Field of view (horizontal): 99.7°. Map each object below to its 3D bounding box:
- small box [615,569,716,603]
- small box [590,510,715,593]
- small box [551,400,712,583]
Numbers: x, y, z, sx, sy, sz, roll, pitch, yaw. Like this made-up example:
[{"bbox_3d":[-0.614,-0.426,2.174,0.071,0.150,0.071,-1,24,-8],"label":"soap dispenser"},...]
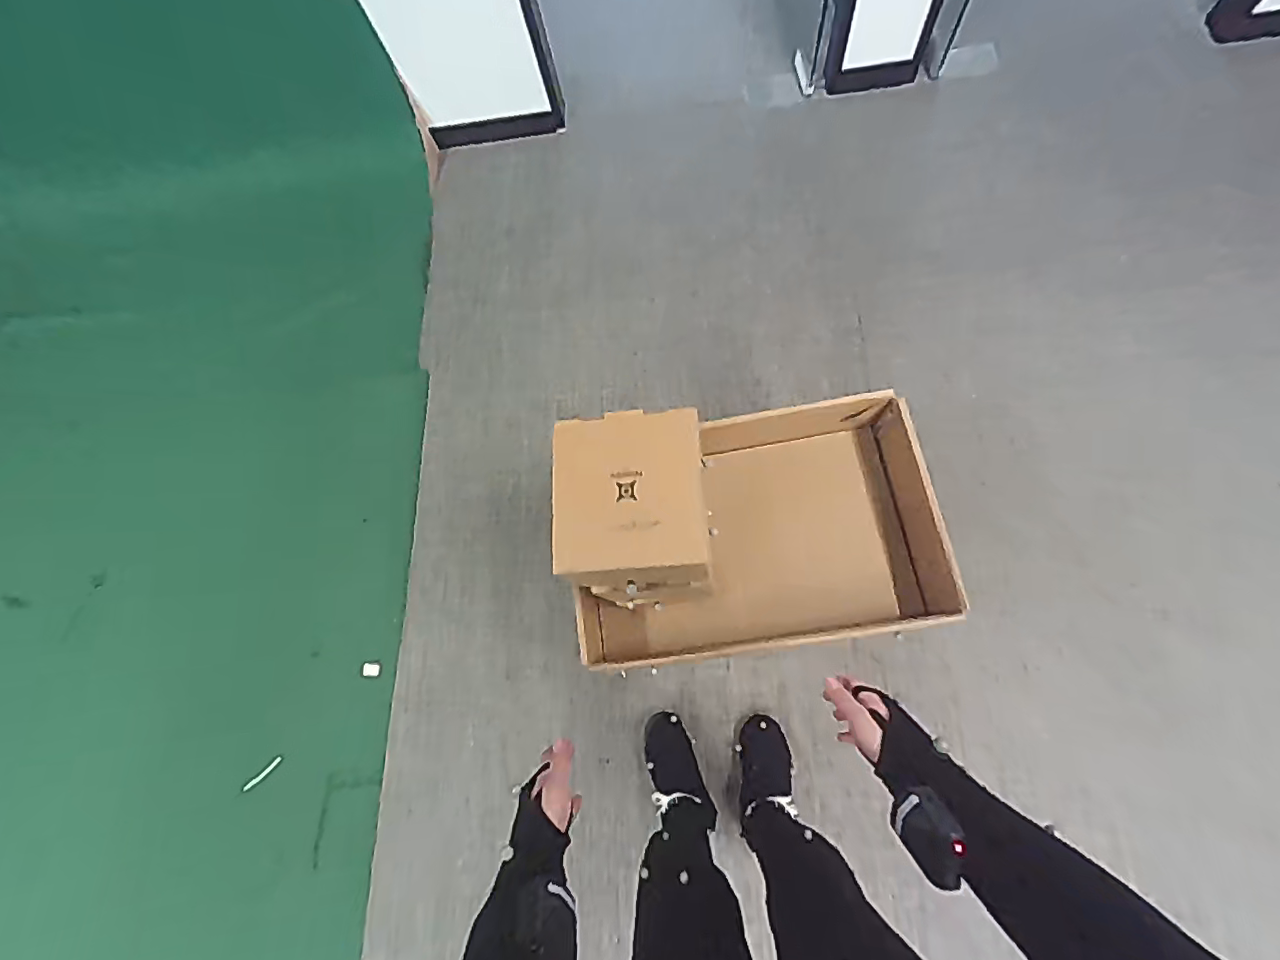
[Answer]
[{"bbox_3d":[0.042,0.120,0.956,0.168,0.176,0.179,-9,72,5],"label":"small box"},{"bbox_3d":[0.022,0.073,0.801,0.168,0.176,0.179,-5,72,6],"label":"small box"},{"bbox_3d":[-0.002,0.023,0.646,0.168,0.176,0.179,-4,73,7],"label":"small box"}]
